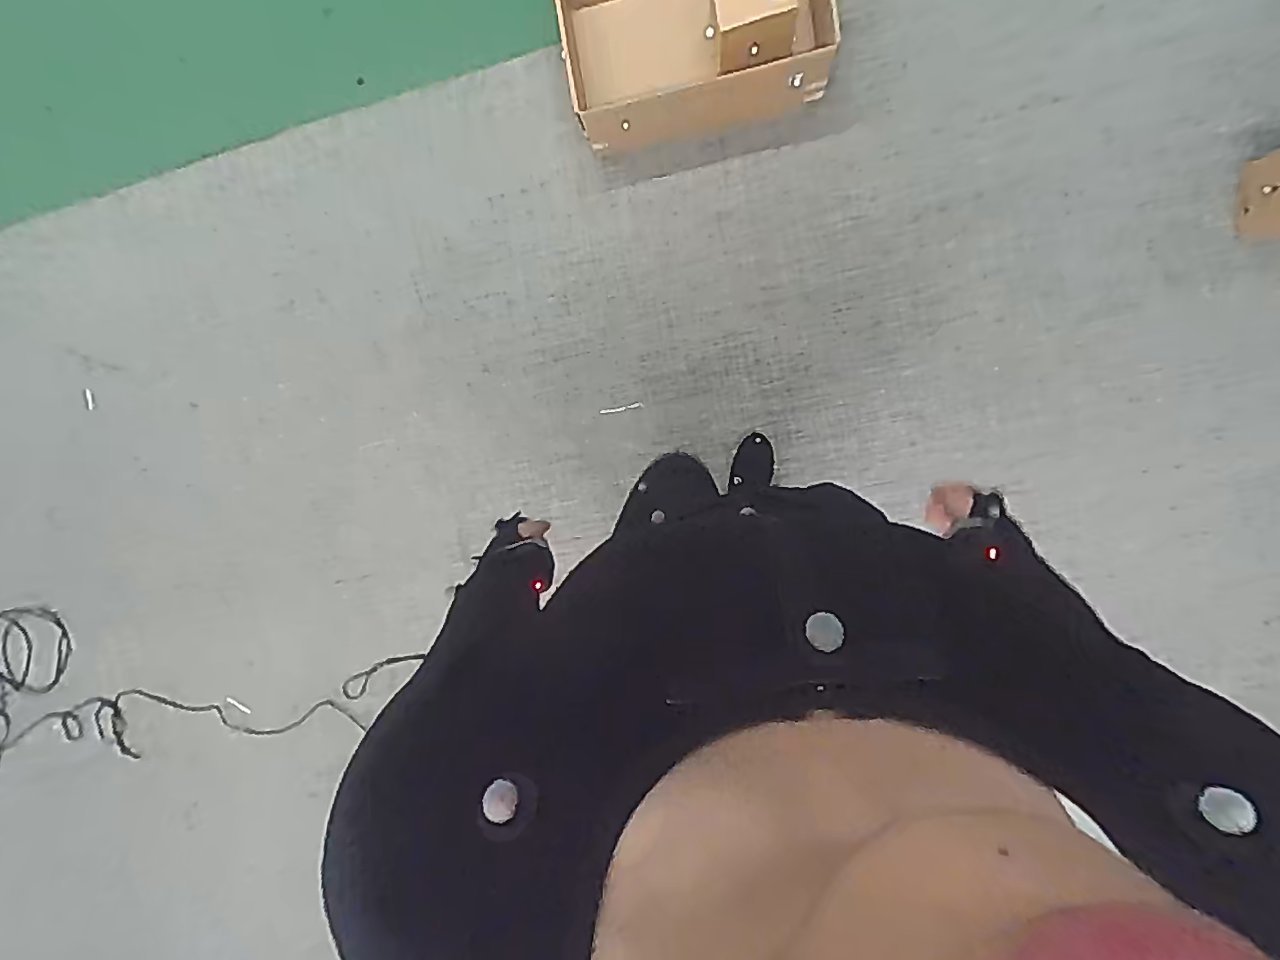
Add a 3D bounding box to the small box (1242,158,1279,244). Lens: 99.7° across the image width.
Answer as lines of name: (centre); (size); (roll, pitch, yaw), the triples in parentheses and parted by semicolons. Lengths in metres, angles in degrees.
small box: (1.469, -0.620, 1.162); (0.179, 0.176, 0.168); (2, 94, 9)
